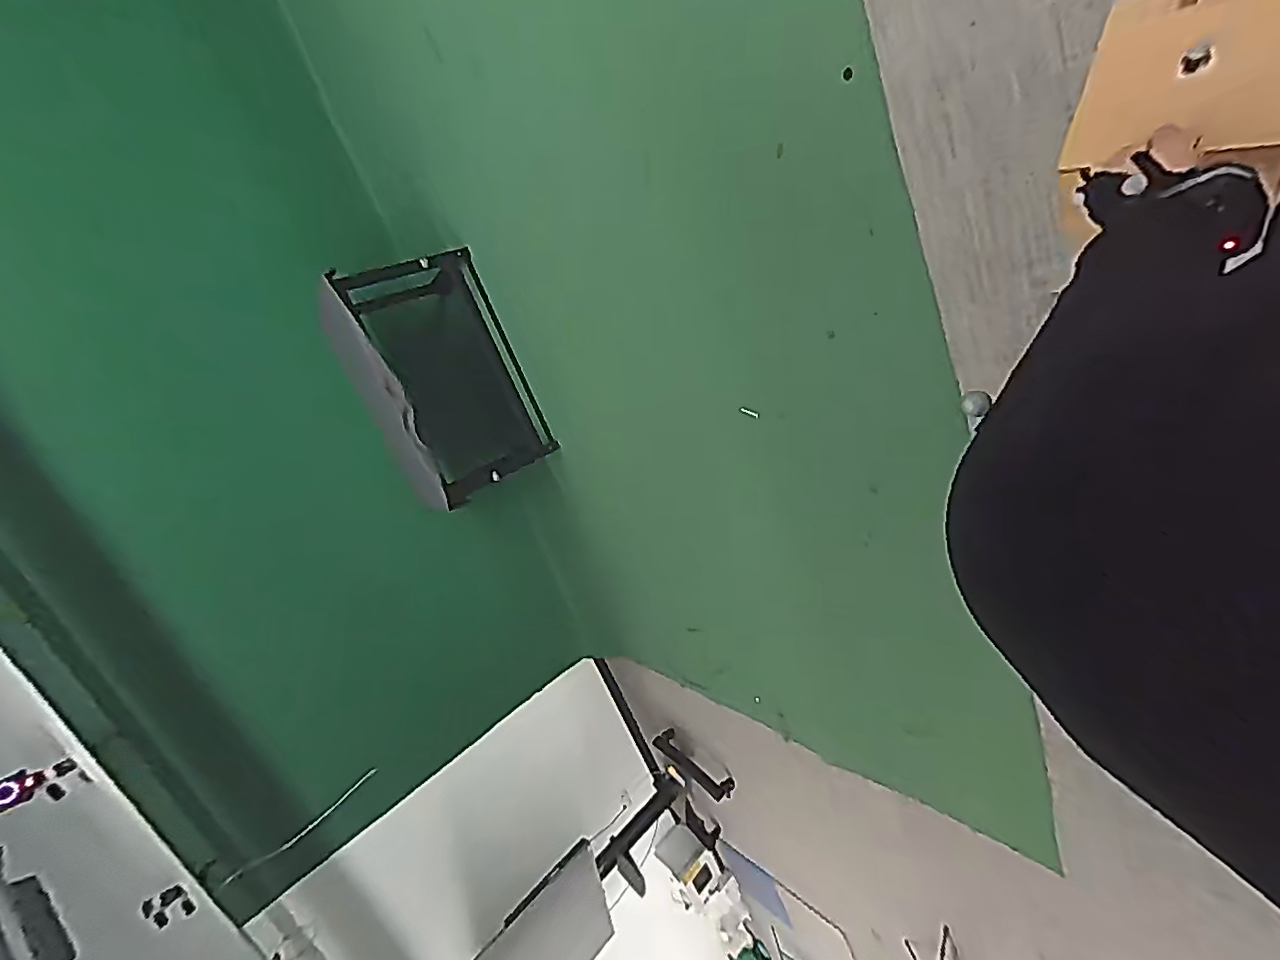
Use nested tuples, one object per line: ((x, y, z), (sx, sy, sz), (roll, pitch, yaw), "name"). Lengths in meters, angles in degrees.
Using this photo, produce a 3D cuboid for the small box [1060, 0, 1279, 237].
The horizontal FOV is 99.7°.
((0.563, -0.373, 0.554), (0.168, 0.179, 0.176), (20, 100, 42), "small box")
